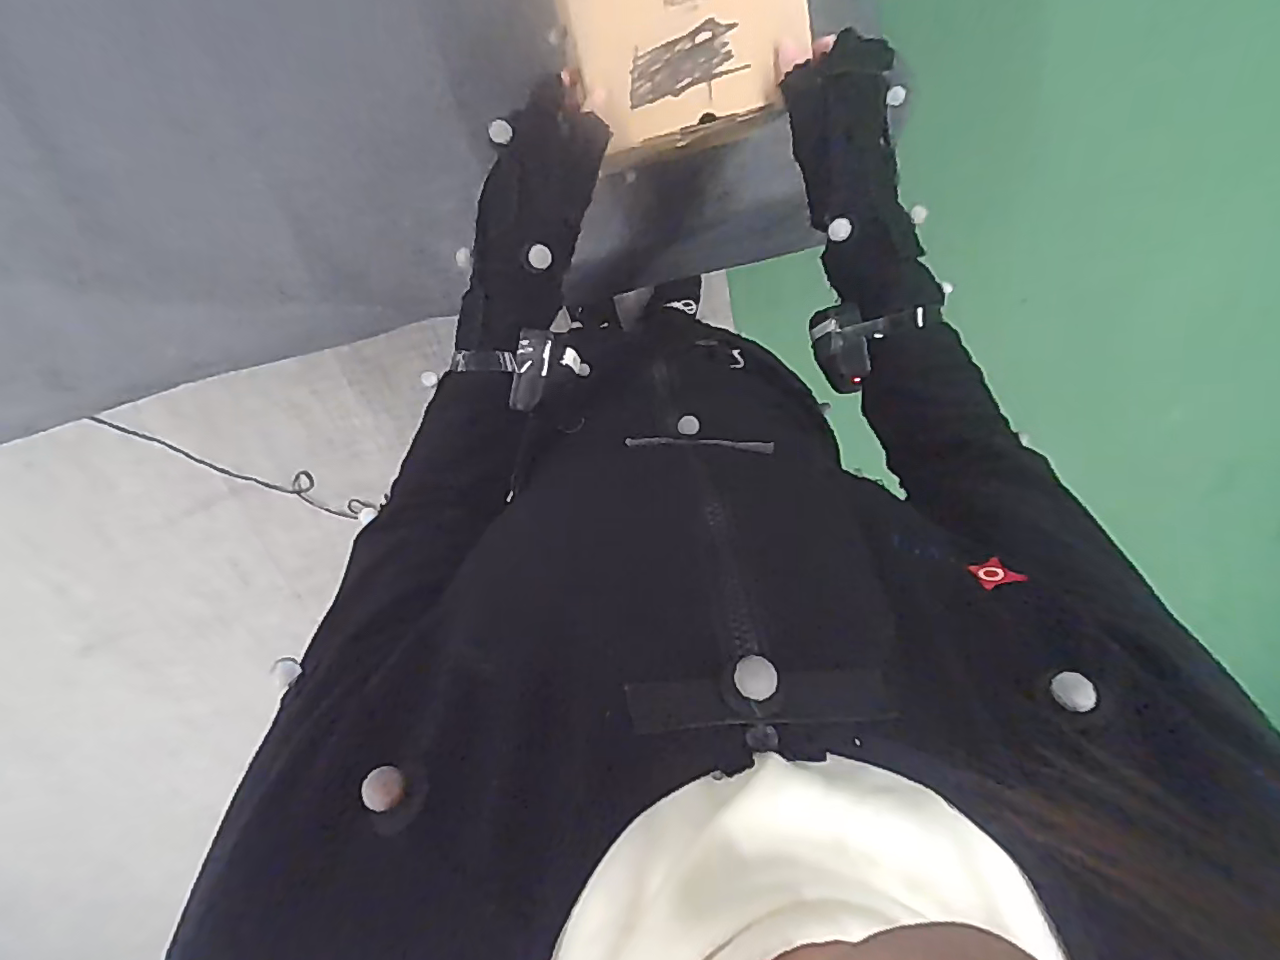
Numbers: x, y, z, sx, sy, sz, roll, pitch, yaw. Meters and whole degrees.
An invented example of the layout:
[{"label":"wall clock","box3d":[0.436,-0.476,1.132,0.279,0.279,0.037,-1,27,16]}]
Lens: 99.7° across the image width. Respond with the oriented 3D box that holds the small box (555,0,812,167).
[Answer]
[{"label":"small box","box3d":[0.023,-0.370,0.436,0.168,0.176,0.179,-15,114,1]}]
